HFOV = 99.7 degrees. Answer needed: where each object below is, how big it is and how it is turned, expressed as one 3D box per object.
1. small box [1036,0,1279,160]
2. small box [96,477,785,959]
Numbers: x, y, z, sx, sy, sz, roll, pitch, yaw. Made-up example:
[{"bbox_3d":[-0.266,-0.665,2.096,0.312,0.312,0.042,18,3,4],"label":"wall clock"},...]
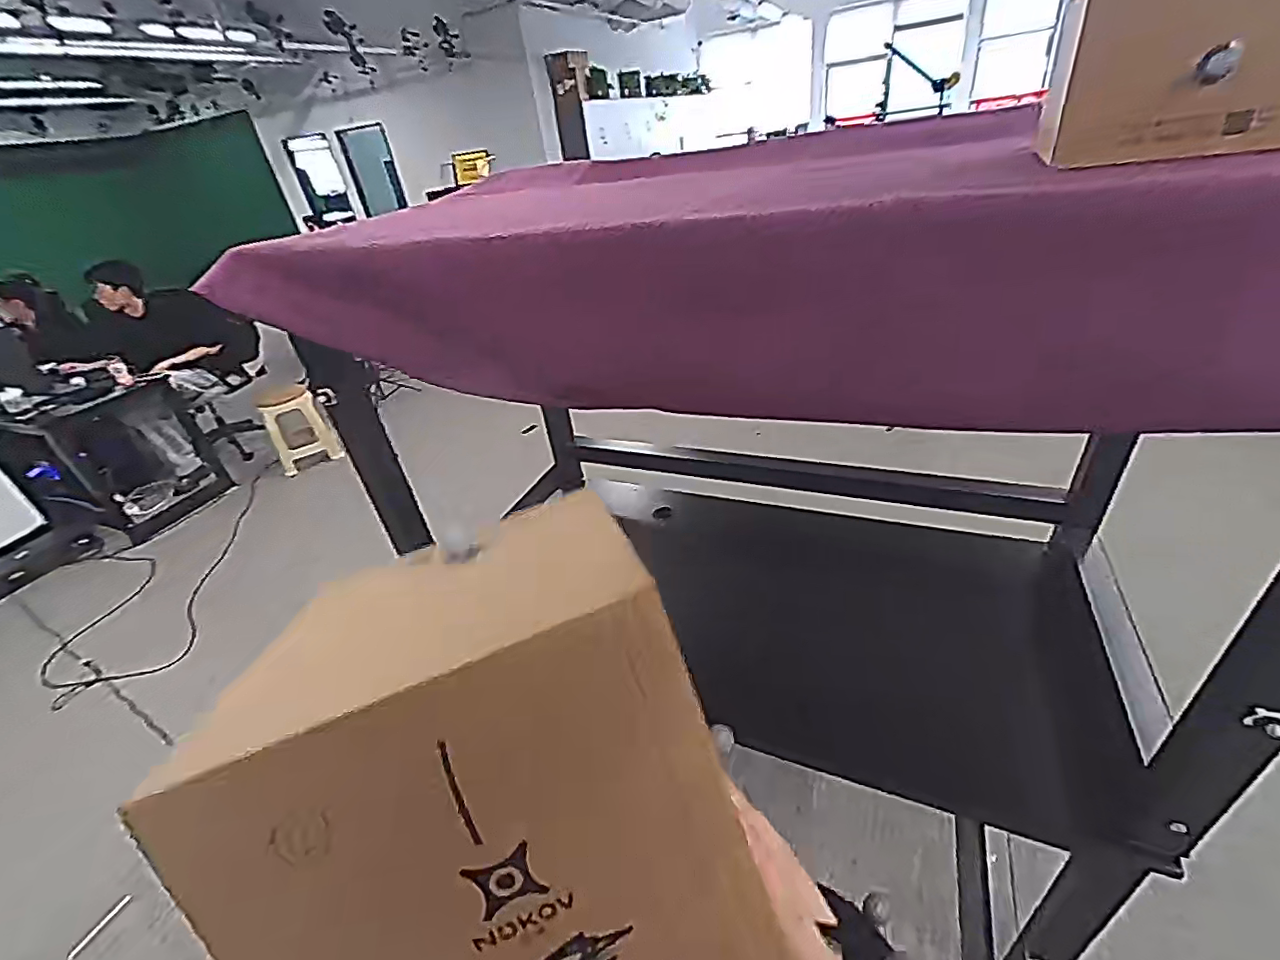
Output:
[{"bbox_3d":[0.420,-0.350,0.408,0.168,0.176,0.179,9,36,27],"label":"small box"},{"bbox_3d":[-0.060,0.115,0.251,0.168,0.179,0.176,-21,14,-7],"label":"small box"}]
